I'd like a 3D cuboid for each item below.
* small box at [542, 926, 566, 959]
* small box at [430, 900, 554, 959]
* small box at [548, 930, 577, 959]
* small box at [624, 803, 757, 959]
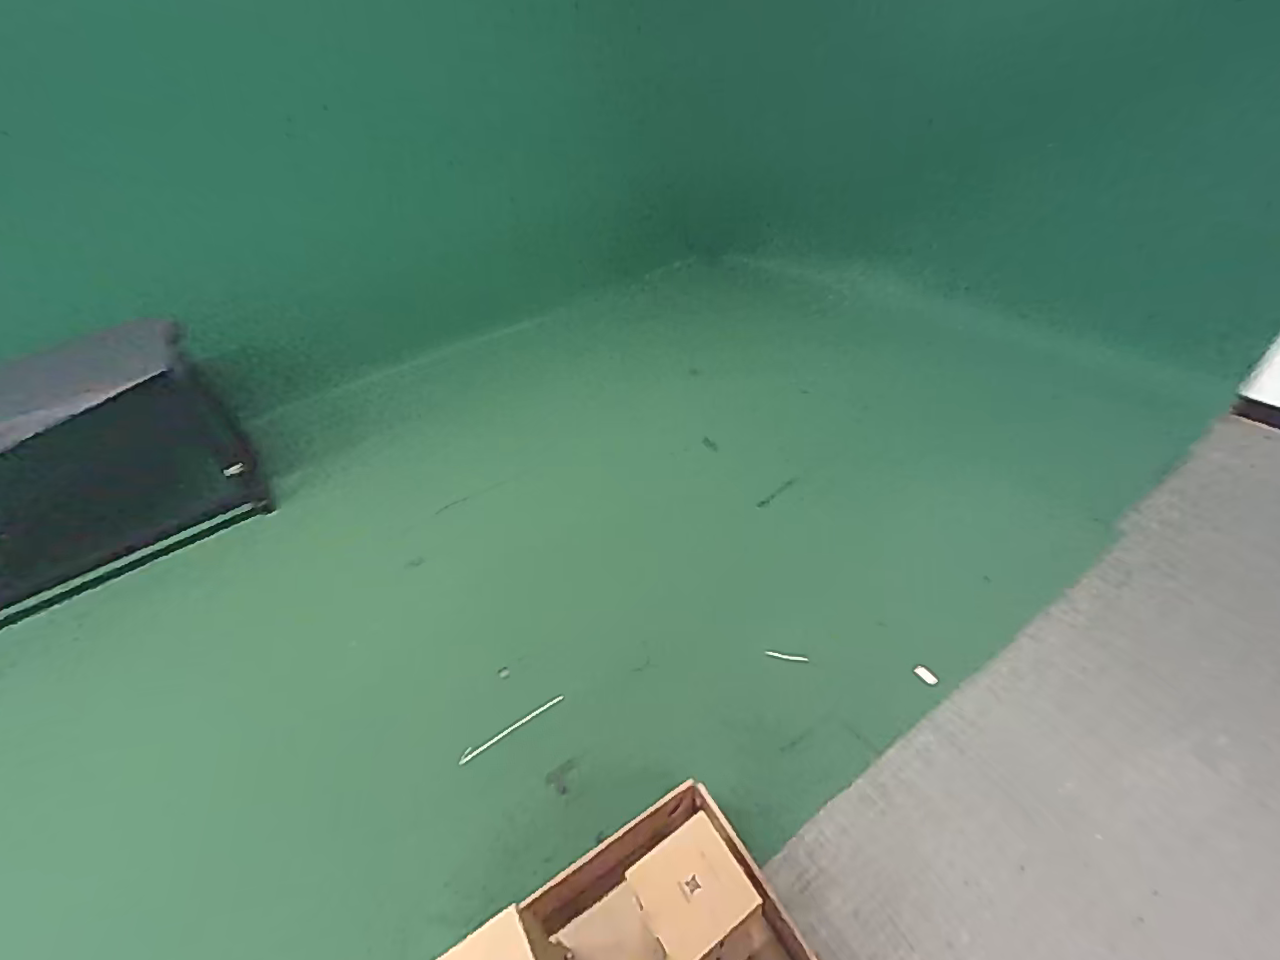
[{"bbox_3d":[-0.198,0.877,0.880,0.179,0.176,0.168,-26,46,-20],"label":"small box"},{"bbox_3d":[-0.205,0.753,0.770,0.179,0.176,0.168,-27,45,-19],"label":"small box"},{"bbox_3d":[-0.181,0.989,0.999,0.168,0.176,0.179,-27,46,-20],"label":"small box"},{"bbox_3d":[0.094,0.738,0.980,0.179,0.176,0.168,-29,48,-19],"label":"small box"}]
